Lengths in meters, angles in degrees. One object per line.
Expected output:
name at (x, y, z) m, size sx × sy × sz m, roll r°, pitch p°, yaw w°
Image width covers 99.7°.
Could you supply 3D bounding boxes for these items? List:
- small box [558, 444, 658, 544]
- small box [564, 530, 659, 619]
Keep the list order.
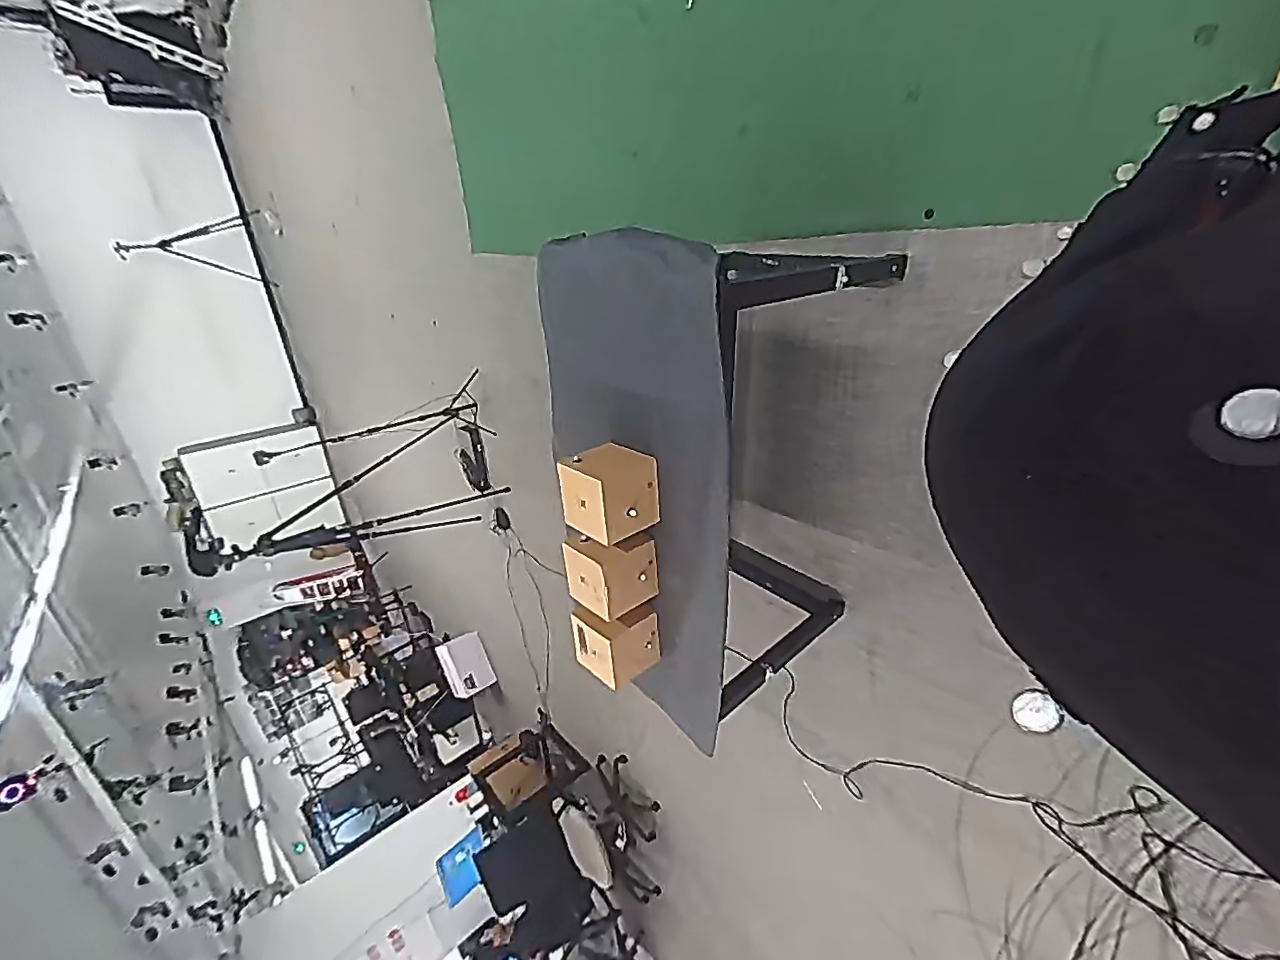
small box at (-0.068, 0.025, 1.287) m, size 0.179 × 0.176 × 0.168 m, roll 21°, pitch 124°, yaw 46°
small box at (-0.072, 0.222, 1.394) m, size 0.179 × 0.176 × 0.168 m, roll 20°, pitch 124°, yaw 46°
